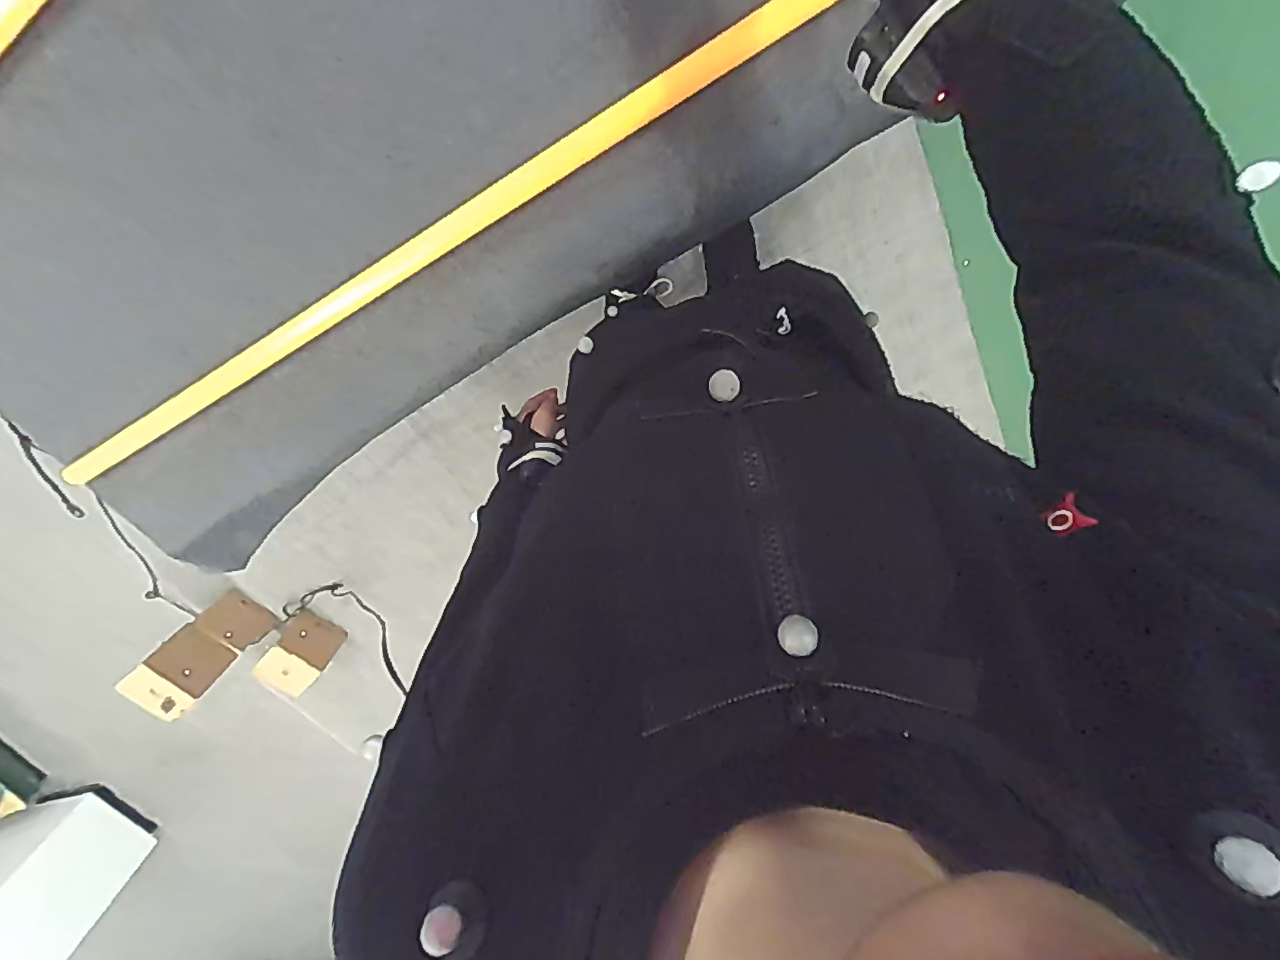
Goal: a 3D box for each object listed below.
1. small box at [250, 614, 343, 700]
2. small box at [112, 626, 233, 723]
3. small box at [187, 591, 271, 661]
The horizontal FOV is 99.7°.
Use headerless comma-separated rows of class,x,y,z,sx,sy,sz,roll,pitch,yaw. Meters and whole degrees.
small box,-1.105,0.570,1.758,0.168,0.176,0.179,41,114,-17
small box,-1.351,0.564,1.577,0.168,0.176,0.179,-34,110,19
small box,-1.332,0.491,1.724,0.179,0.176,0.168,-39,109,21
